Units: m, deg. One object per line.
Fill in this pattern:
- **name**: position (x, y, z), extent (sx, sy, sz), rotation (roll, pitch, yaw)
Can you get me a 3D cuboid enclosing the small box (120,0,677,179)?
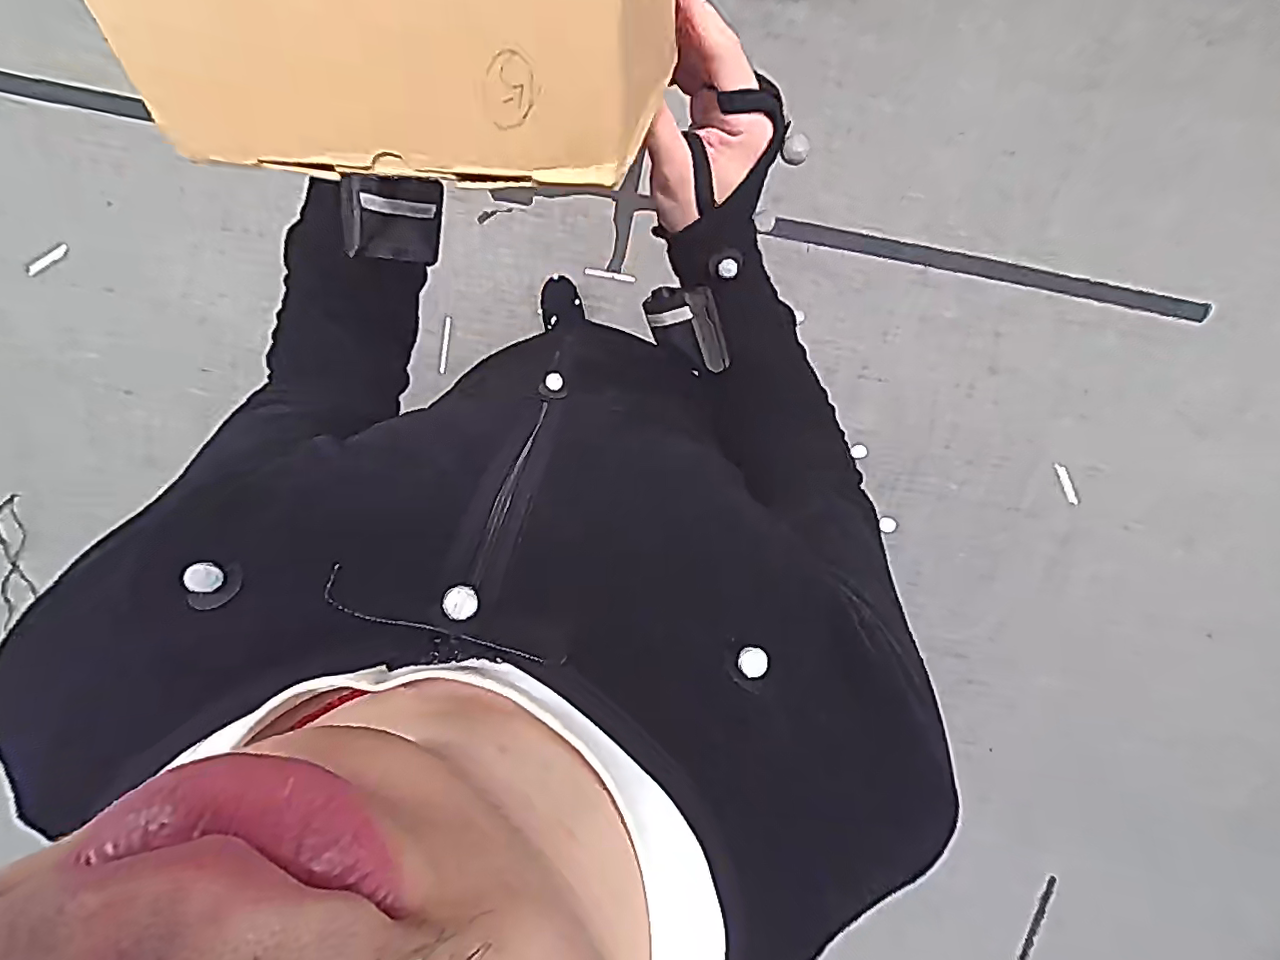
- **small box**: position (-0.073, -0.232, 0.187), extent (0.168, 0.176, 0.179), rotation (5, 139, 6)
